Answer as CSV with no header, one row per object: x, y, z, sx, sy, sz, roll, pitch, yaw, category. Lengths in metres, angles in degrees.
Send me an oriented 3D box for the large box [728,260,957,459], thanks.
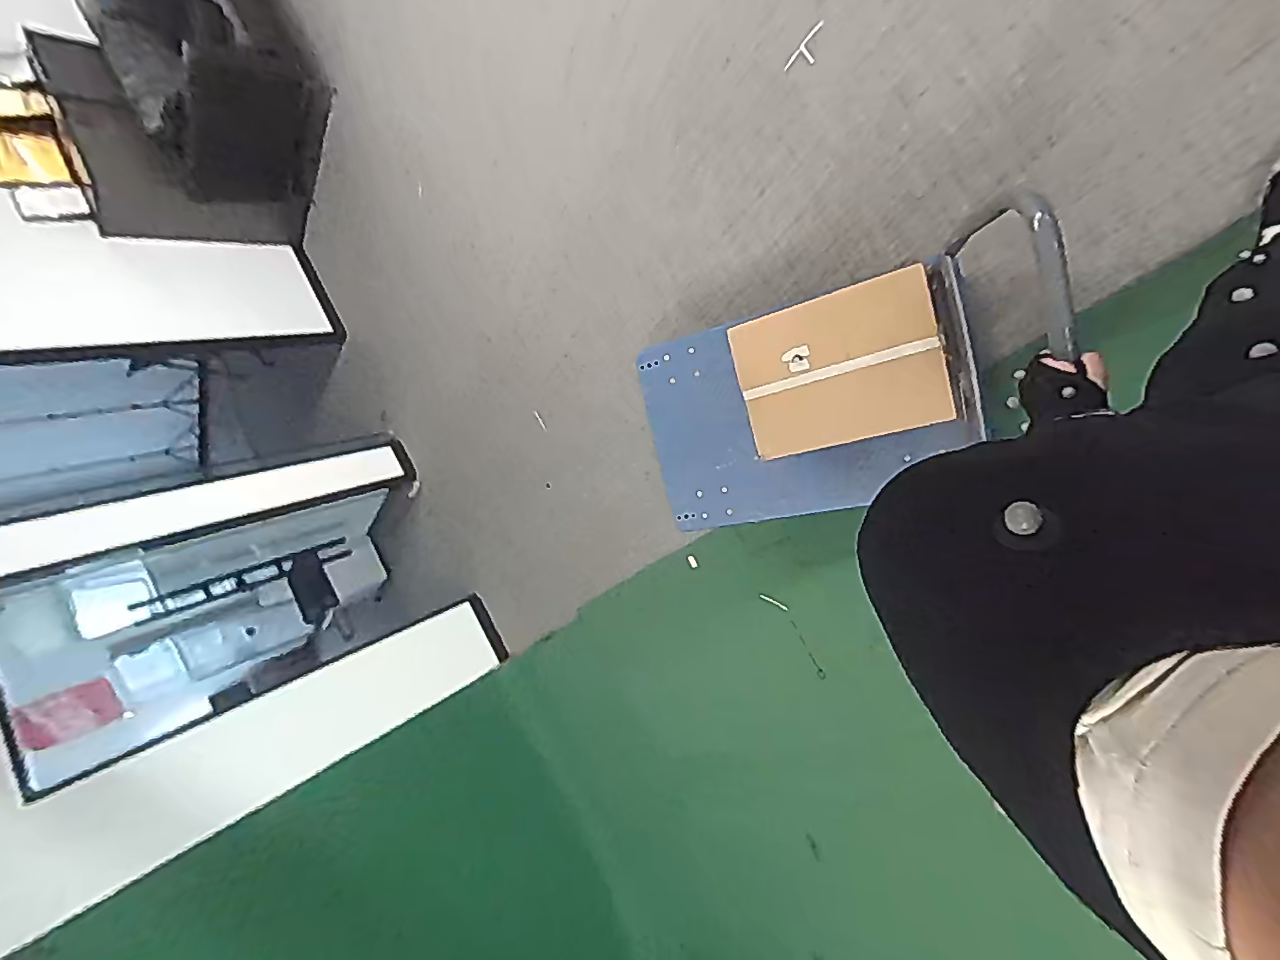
0.473,-0.267,1.265,0.408,0.320,0.320,-14,95,28,large box
